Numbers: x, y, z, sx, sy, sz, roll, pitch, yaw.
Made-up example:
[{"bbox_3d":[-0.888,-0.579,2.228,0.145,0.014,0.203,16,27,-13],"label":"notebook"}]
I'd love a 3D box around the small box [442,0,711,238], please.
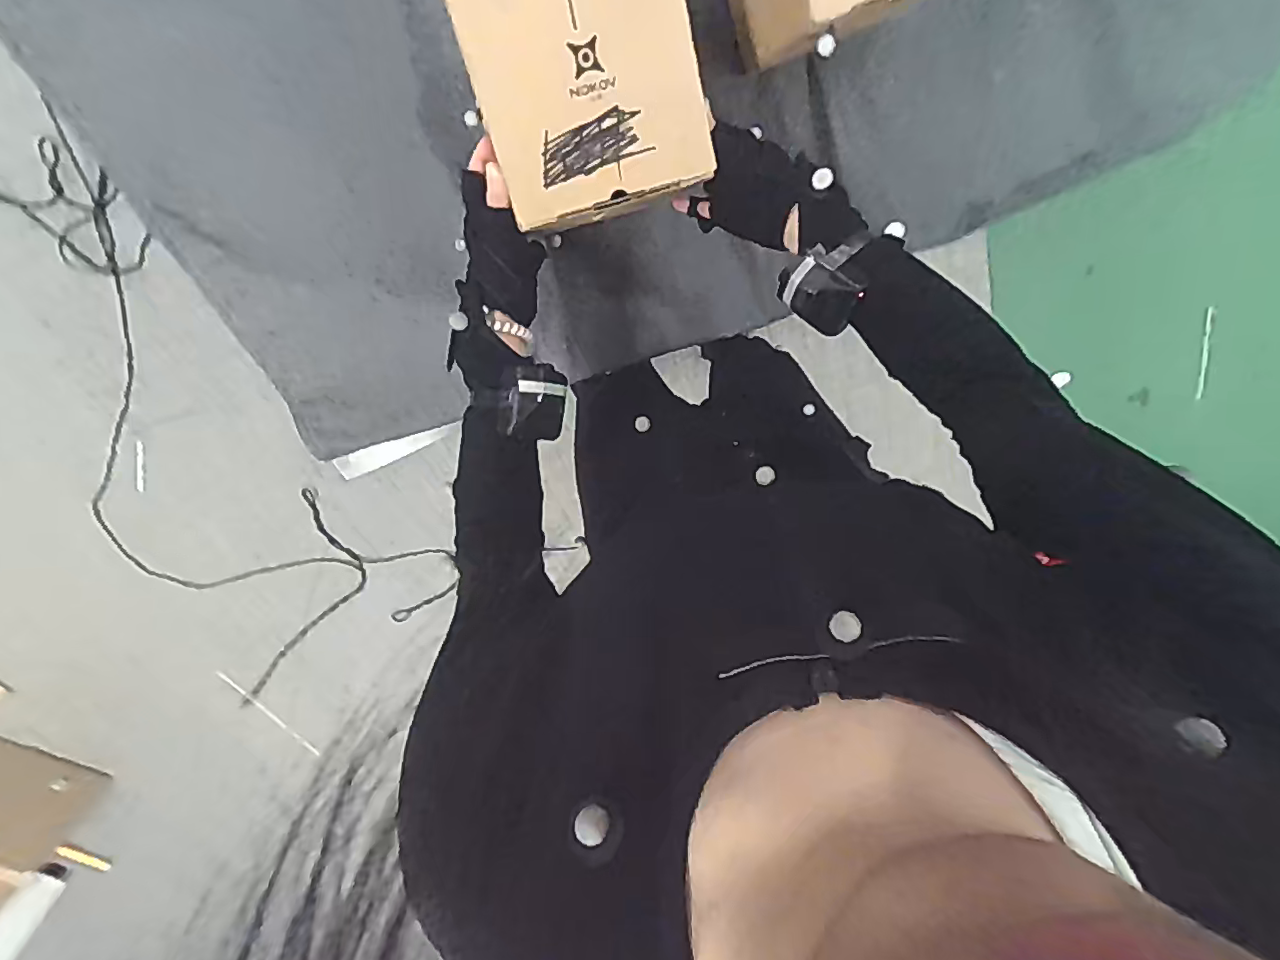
[{"bbox_3d":[-0.053,-0.320,0.468,0.168,0.176,0.179,-18,113,-4],"label":"small box"}]
